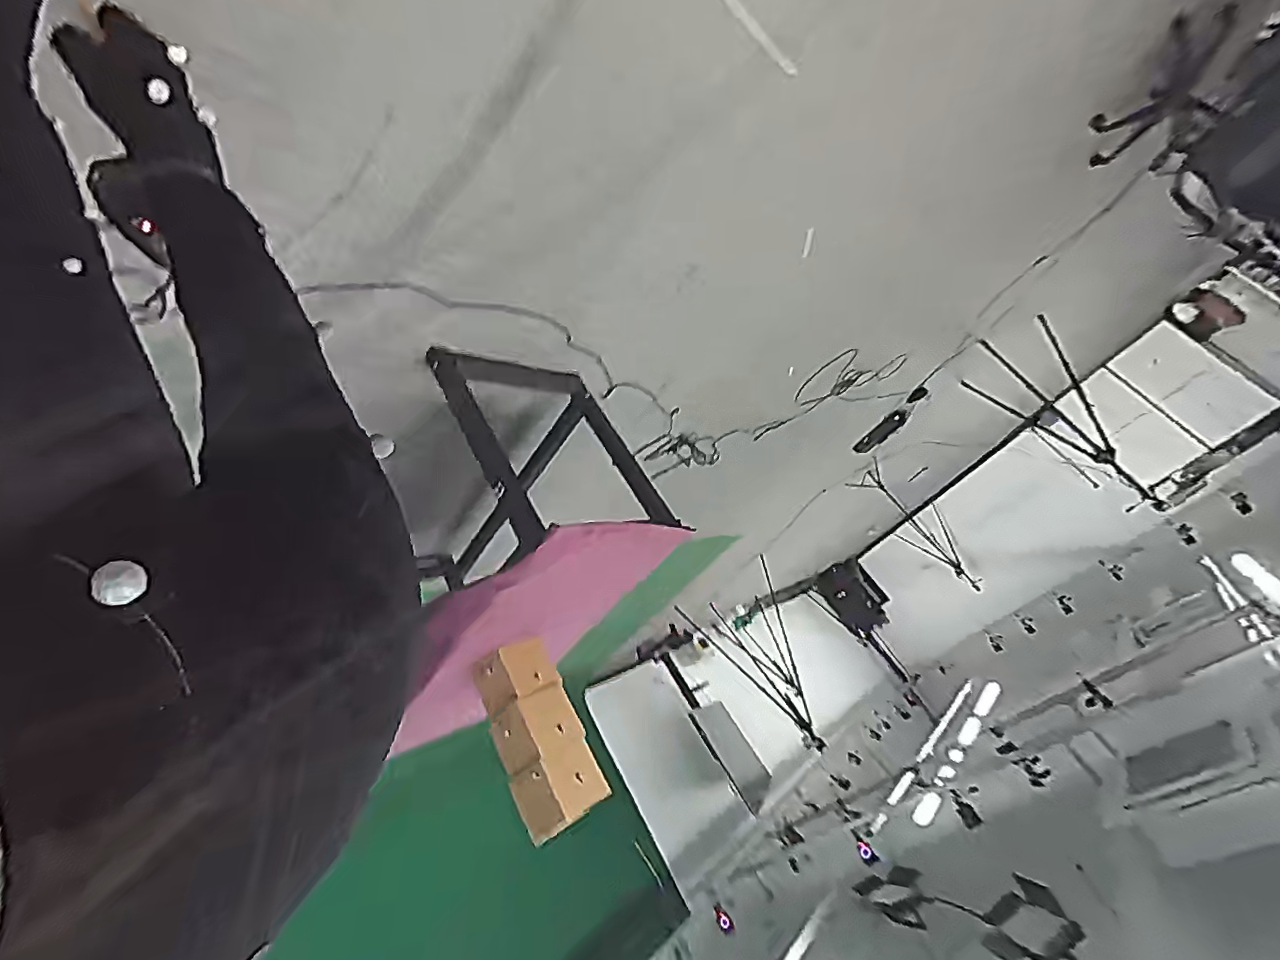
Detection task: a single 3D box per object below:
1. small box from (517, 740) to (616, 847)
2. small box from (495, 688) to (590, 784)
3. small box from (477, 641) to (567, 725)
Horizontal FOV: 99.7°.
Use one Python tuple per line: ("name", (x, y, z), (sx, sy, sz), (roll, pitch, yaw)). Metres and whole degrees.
("small box", (-0.208, 0.855, 1.490), (0.179, 0.176, 0.168), (1, 136, -53))
("small box", (-0.286, 0.731, 1.566), (0.179, 0.176, 0.168), (2, 135, -51))
("small box", (-0.363, 0.613, 1.650), (0.179, 0.176, 0.168), (4, 134, -52))
